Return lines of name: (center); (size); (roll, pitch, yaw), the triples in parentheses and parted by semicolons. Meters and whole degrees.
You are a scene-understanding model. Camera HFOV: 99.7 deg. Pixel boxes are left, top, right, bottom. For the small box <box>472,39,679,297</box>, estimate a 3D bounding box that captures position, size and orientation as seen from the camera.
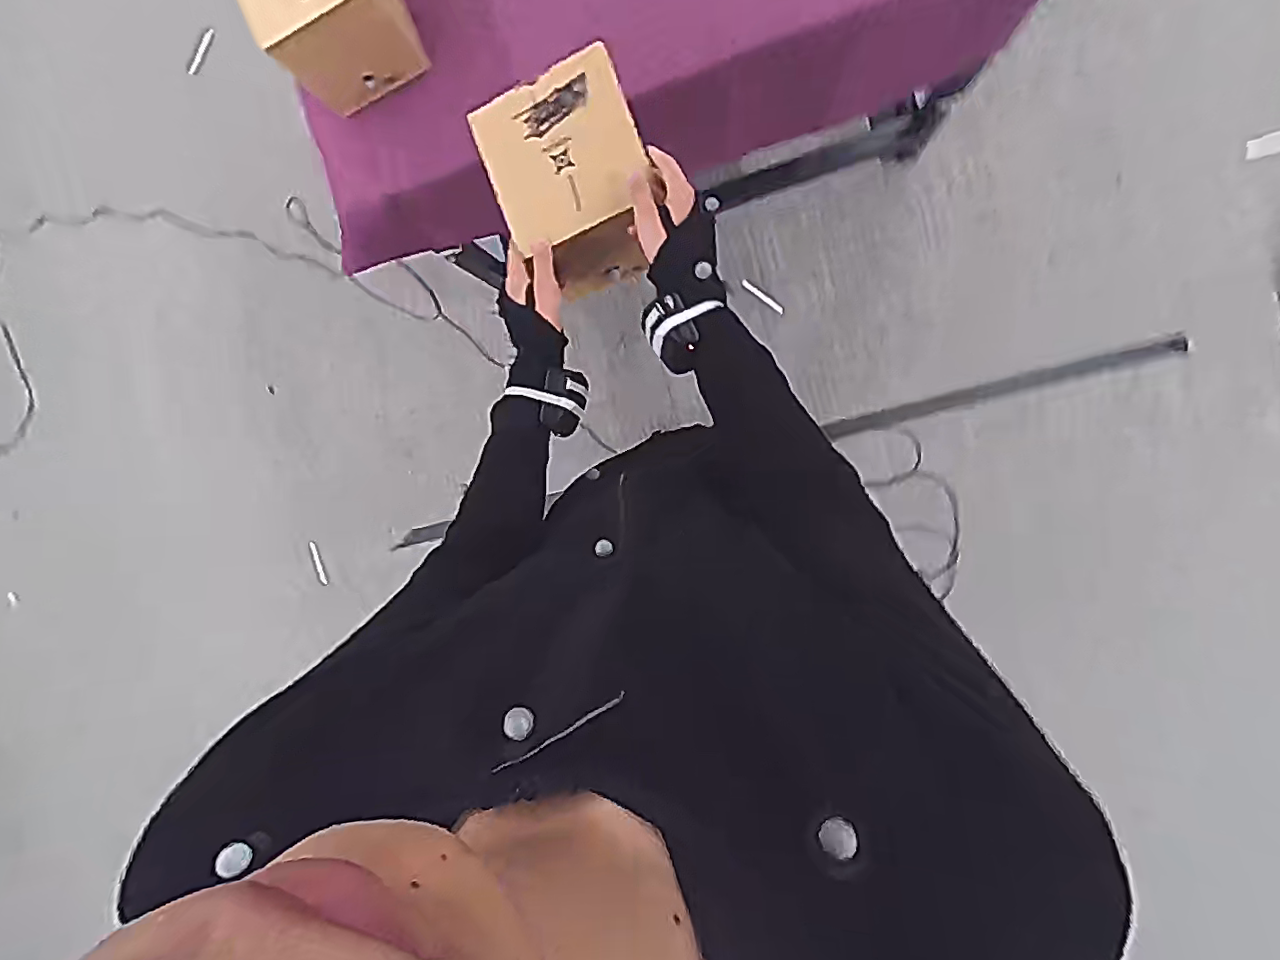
small box: (-0.065, -0.349, 0.645); (0.168, 0.176, 0.179); (-20, 88, 13)
